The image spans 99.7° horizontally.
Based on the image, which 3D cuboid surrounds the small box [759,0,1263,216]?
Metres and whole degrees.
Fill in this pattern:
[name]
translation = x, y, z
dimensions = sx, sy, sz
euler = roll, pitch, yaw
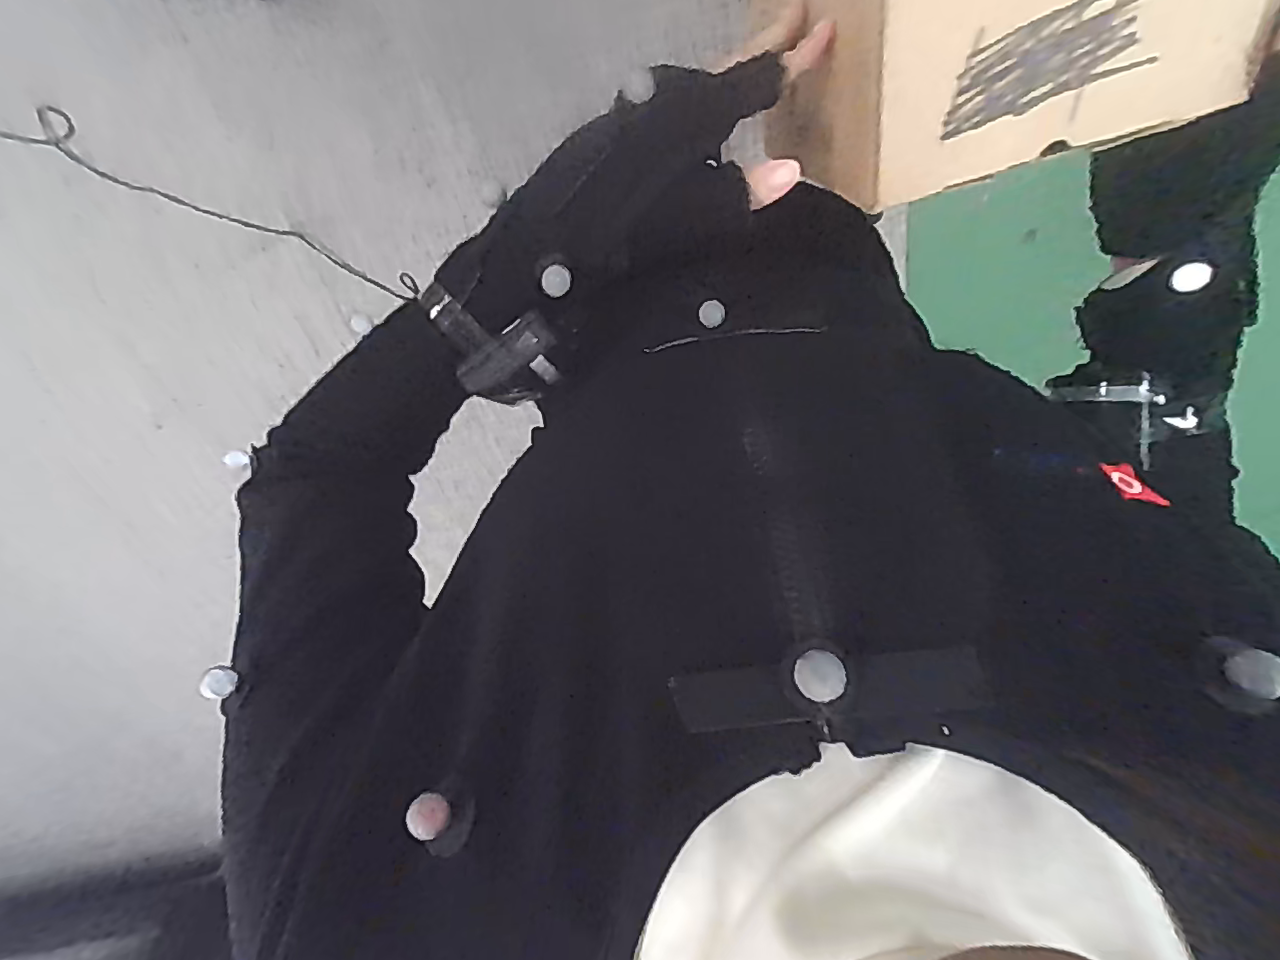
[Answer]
[small box]
translation = 0.162, -0.259, 0.268
dimensions = 0.168, 0.176, 0.179
euler = -14, 128, 2
